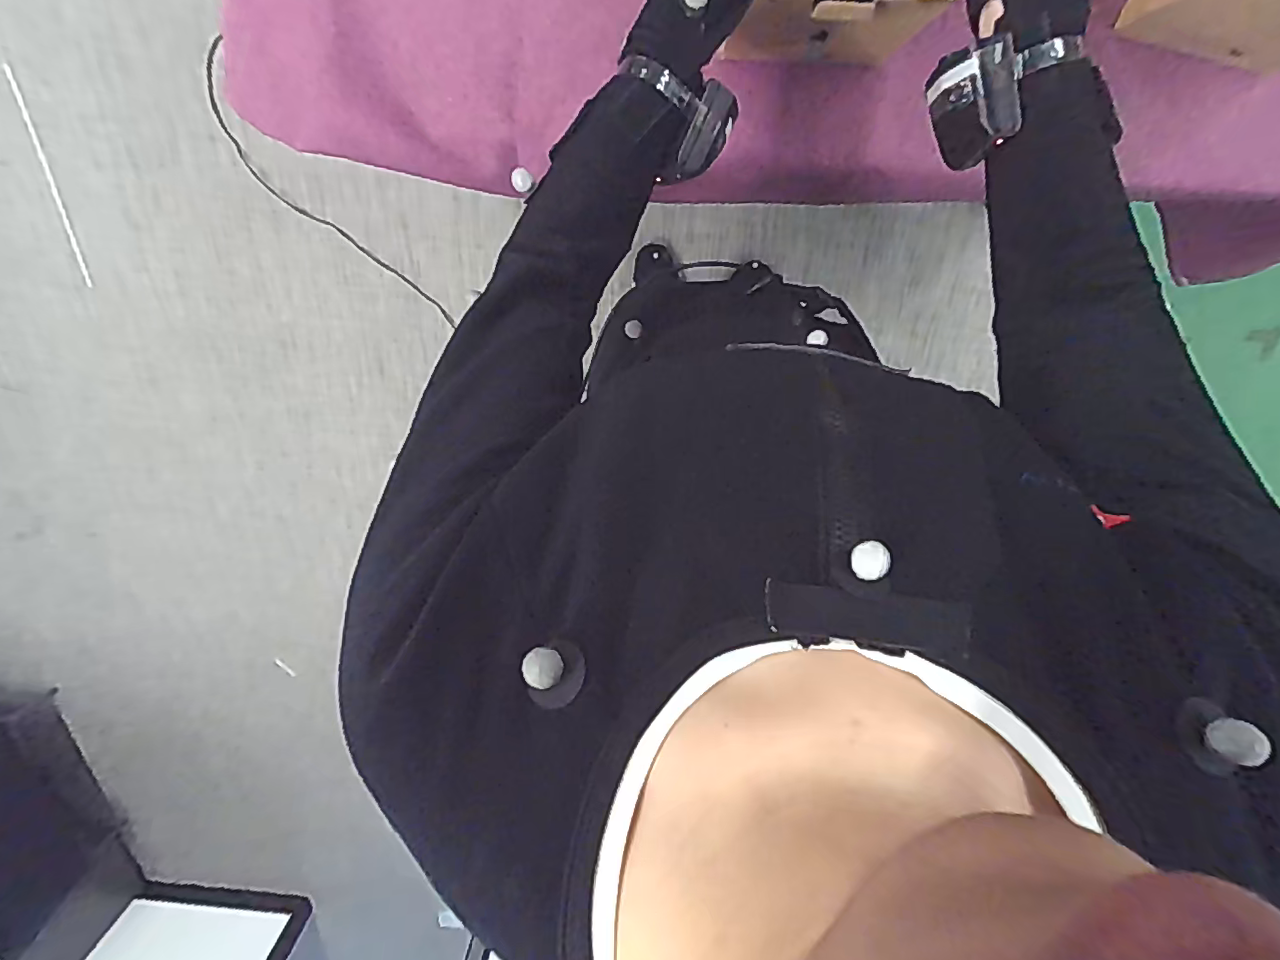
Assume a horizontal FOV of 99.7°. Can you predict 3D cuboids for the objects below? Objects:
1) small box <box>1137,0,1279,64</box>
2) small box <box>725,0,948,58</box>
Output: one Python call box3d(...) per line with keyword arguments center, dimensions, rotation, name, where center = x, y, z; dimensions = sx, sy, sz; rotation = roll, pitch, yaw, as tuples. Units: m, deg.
box3d(center=(0.547, -0.456, 0.412), dimensions=(0.168, 0.176, 0.179), rotation=(14, 114, -2), name="small box")
box3d(center=(0.162, -0.470, 0.438), dimensions=(0.168, 0.176, 0.179), rotation=(4, 114, 3), name="small box")
